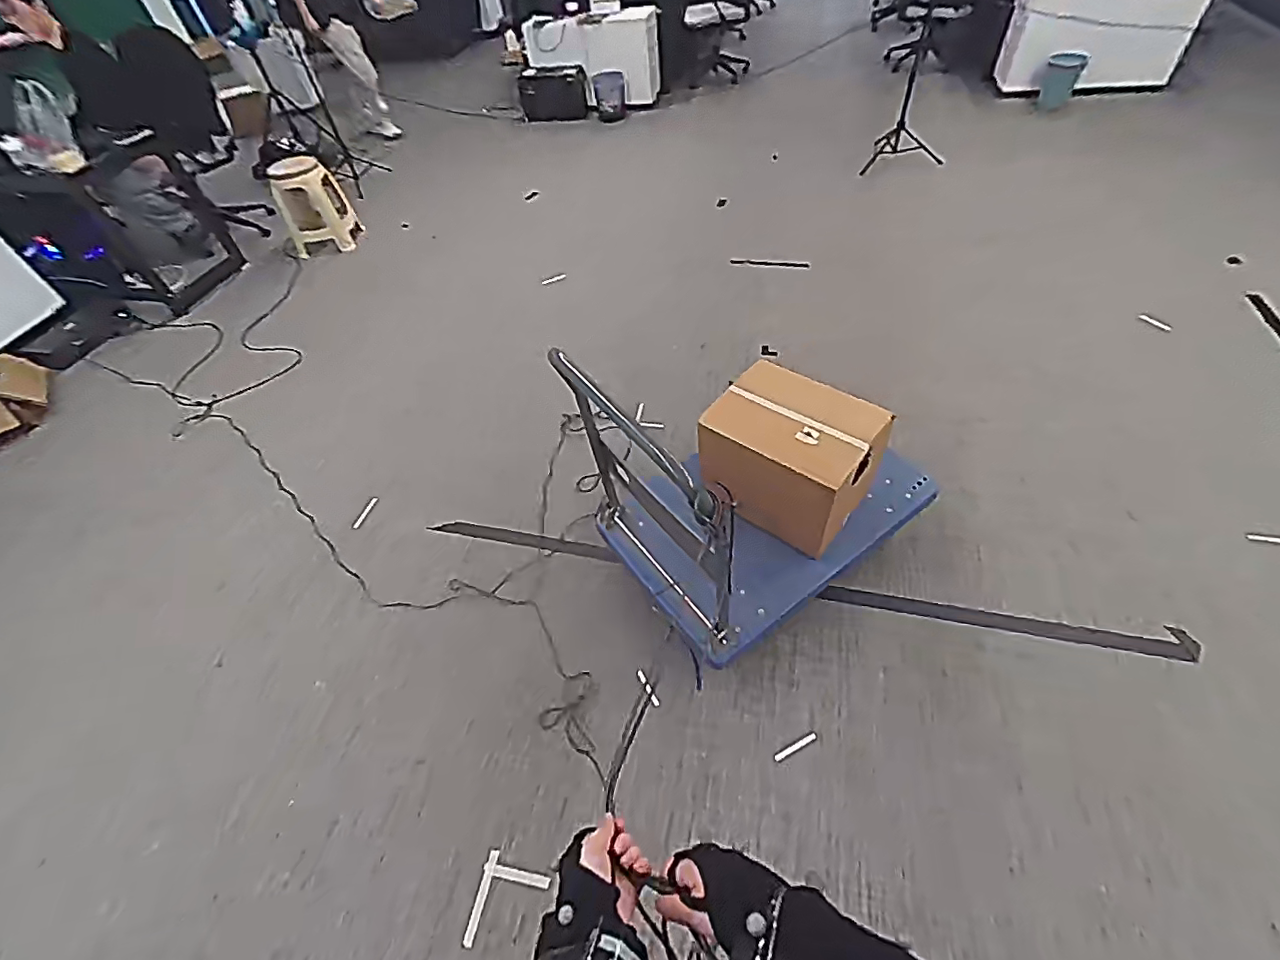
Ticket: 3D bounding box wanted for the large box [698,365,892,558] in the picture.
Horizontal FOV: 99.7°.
[{"bbox_3d":[0.409,-0.058,1.513,0.408,0.320,0.320,31,61,27],"label":"large box"}]
